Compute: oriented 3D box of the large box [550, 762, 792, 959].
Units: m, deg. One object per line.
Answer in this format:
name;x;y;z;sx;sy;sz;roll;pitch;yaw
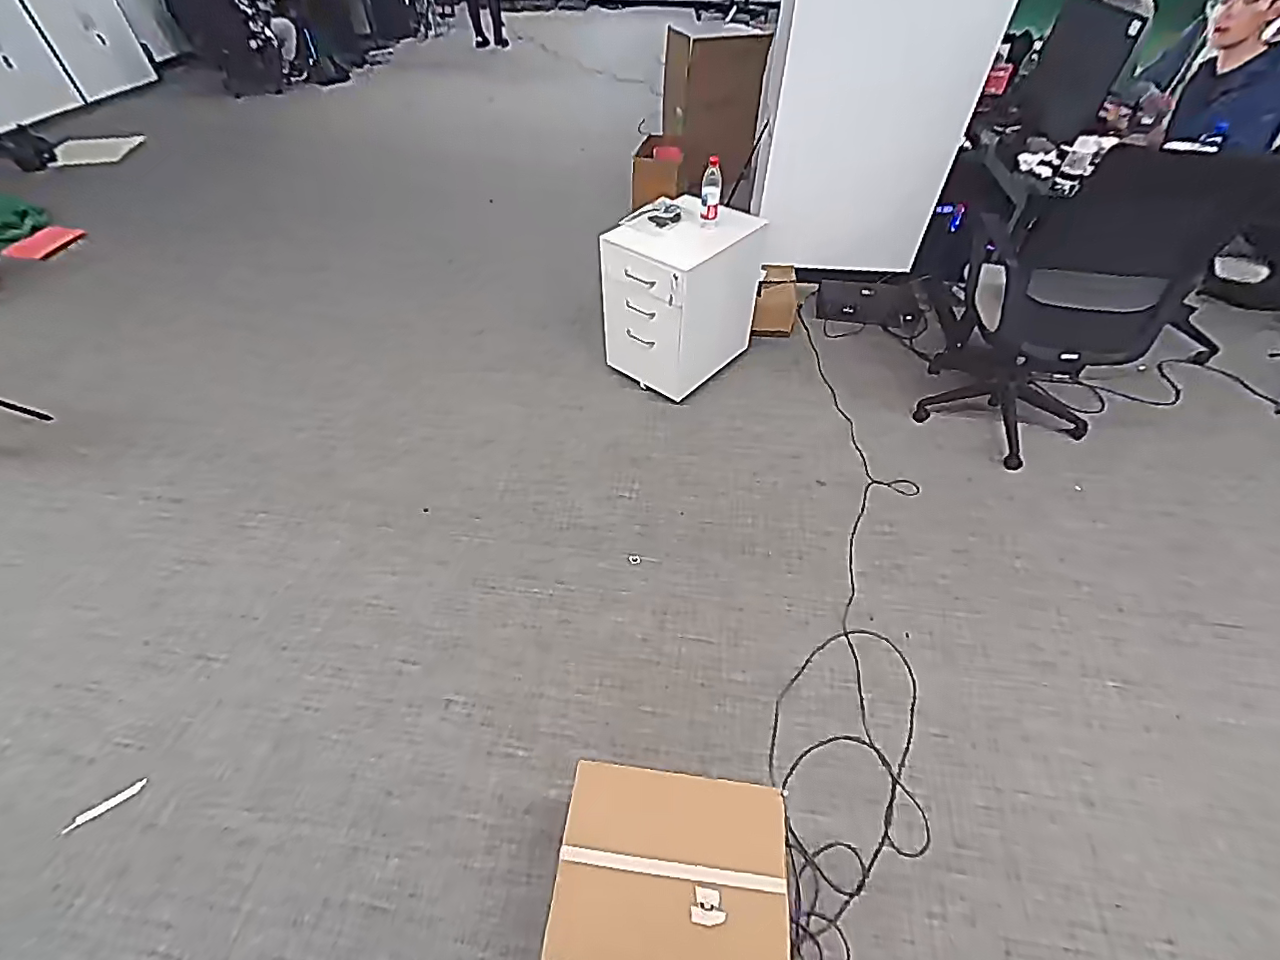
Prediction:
large box;0.065;0.796;1.077;0.408;0.320;0.320;5;48;6
